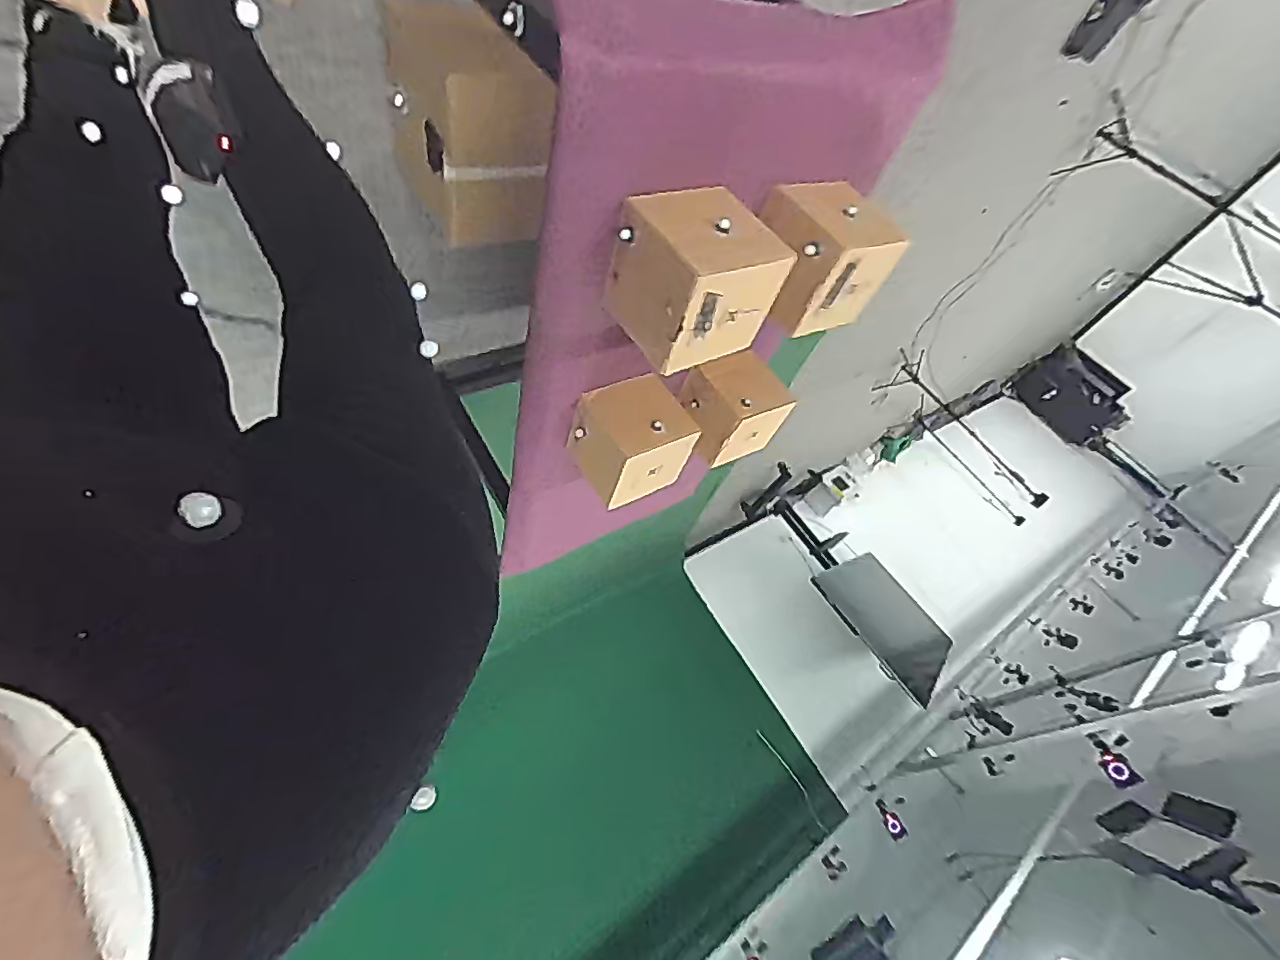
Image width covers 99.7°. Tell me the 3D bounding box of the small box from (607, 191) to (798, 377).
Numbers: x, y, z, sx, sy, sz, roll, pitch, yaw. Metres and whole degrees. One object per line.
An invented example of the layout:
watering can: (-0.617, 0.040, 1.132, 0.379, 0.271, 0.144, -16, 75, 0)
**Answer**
small box: (0.075, -0.278, 0.757, 0.179, 0.176, 0.168, -24, 156, -29)

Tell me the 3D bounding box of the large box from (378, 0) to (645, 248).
large box: (-0.265, -0.733, 1.121, 0.408, 0.320, 0.320, -23, 155, -30)

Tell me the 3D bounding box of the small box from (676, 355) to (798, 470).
small box: (0.202, -0.154, 1.189, 0.179, 0.176, 0.168, -20, 153, -31)

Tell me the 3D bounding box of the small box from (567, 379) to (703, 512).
small box: (-0.016, -0.073, 1.042, 0.179, 0.176, 0.168, -22, 153, -31)
